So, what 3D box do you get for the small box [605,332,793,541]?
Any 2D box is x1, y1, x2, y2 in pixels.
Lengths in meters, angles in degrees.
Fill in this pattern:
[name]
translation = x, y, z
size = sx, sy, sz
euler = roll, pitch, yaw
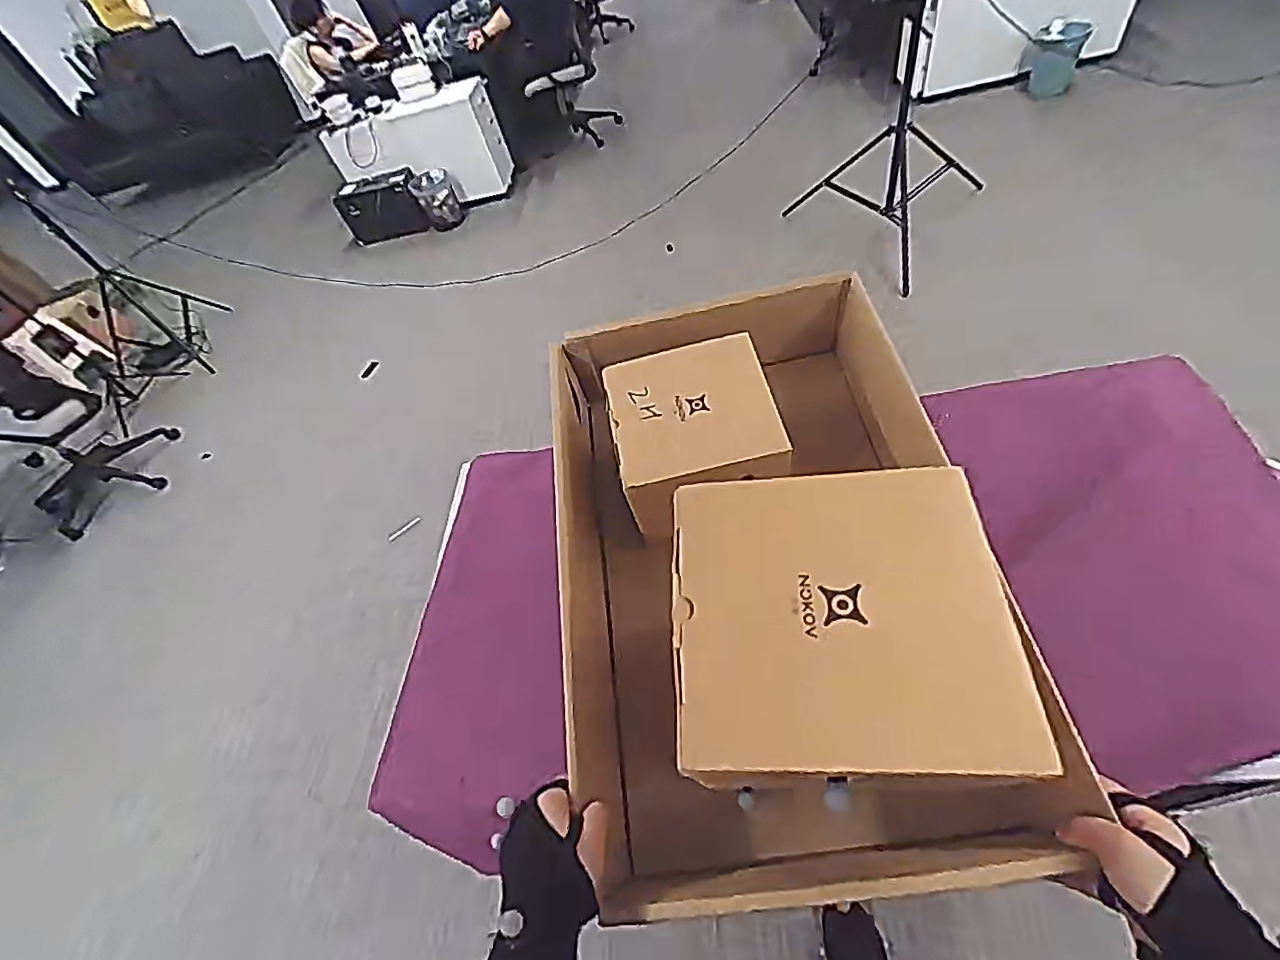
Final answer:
[small box]
translation = 0.067, -0.044, 0.651
size = 0.179, 0.176, 0.168
euler = -13, 59, 3
